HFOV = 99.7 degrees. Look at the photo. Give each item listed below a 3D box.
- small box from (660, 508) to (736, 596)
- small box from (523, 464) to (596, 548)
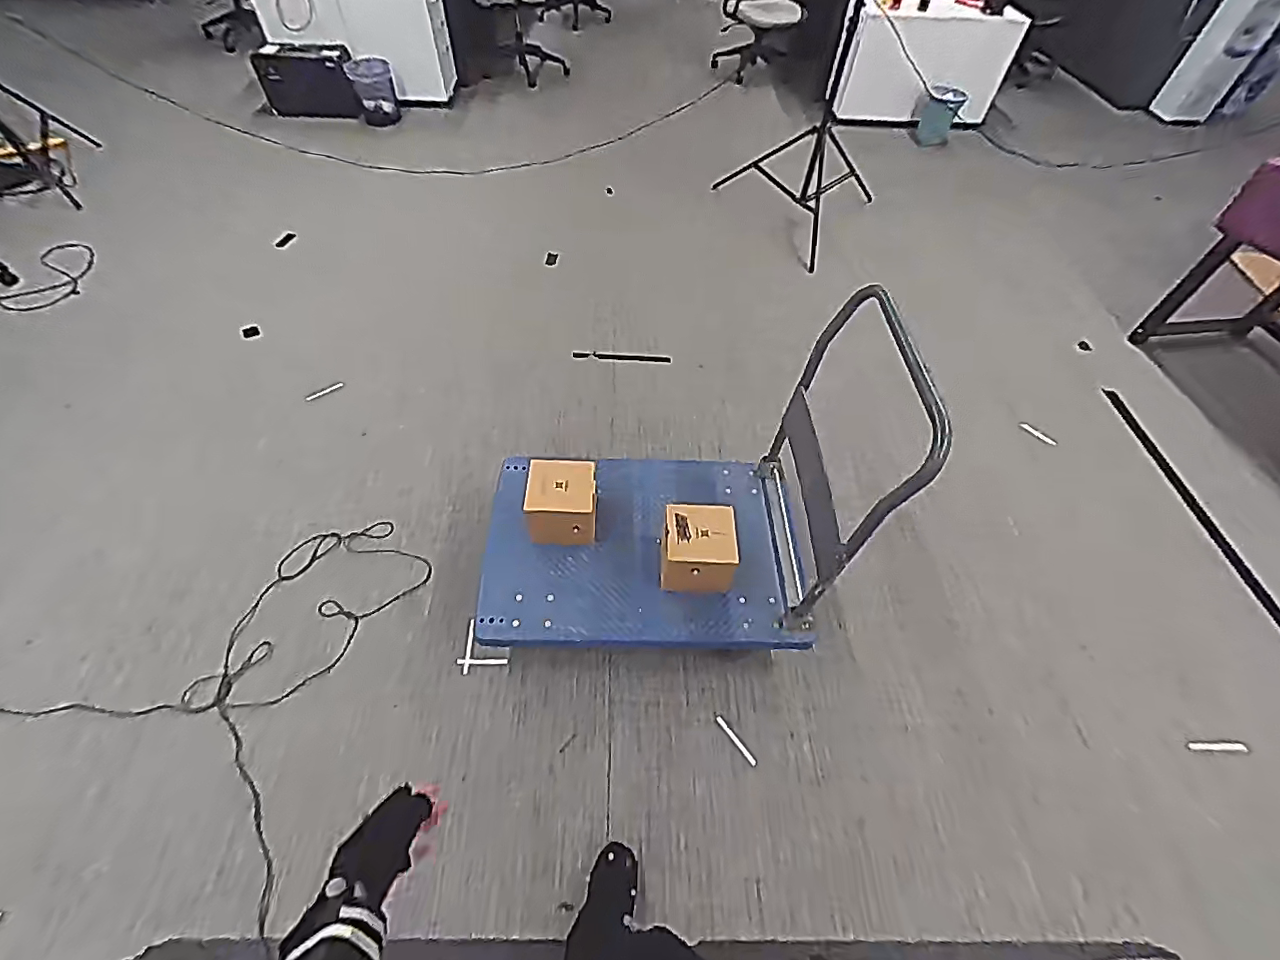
[{"bbox_3d":[0.144,0.190,1.403,0.179,0.176,0.168,3,53,-2],"label":"small box"},{"bbox_3d":[-0.210,0.075,1.469,0.179,0.176,0.168,1,52,-2],"label":"small box"}]
